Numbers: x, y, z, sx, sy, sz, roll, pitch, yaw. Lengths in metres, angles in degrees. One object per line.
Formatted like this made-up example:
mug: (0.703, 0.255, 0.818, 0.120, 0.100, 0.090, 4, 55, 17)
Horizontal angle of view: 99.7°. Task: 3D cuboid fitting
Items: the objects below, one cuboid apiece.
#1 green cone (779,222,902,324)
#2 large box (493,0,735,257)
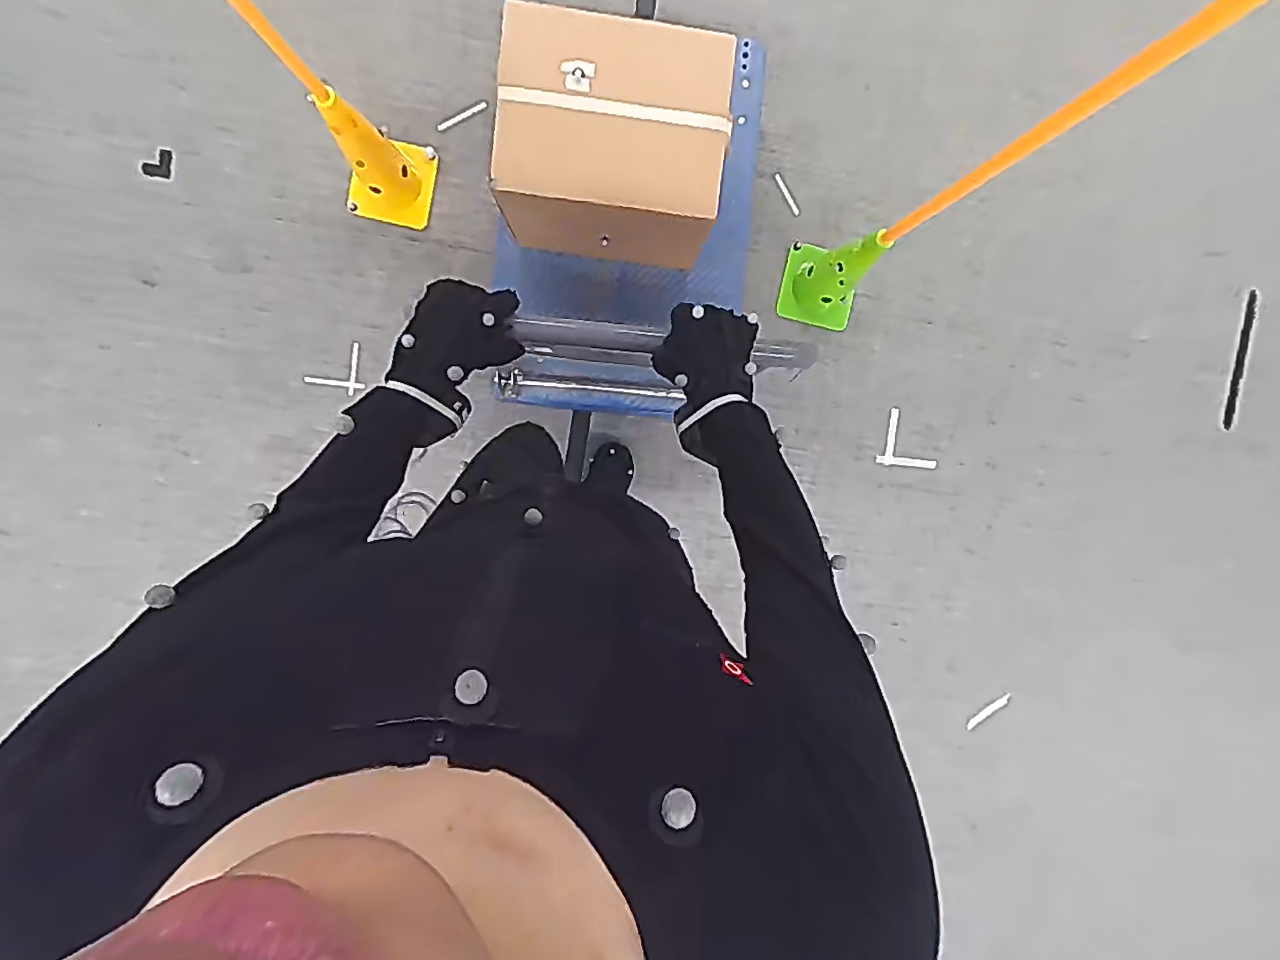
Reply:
green cone: (0.498, -0.519, 1.279, 0.202, 0.368, 0.200, 12, 94, -6)
large box: (-0.050, -0.666, 1.087, 0.408, 0.320, 0.320, 6, 95, -3)
